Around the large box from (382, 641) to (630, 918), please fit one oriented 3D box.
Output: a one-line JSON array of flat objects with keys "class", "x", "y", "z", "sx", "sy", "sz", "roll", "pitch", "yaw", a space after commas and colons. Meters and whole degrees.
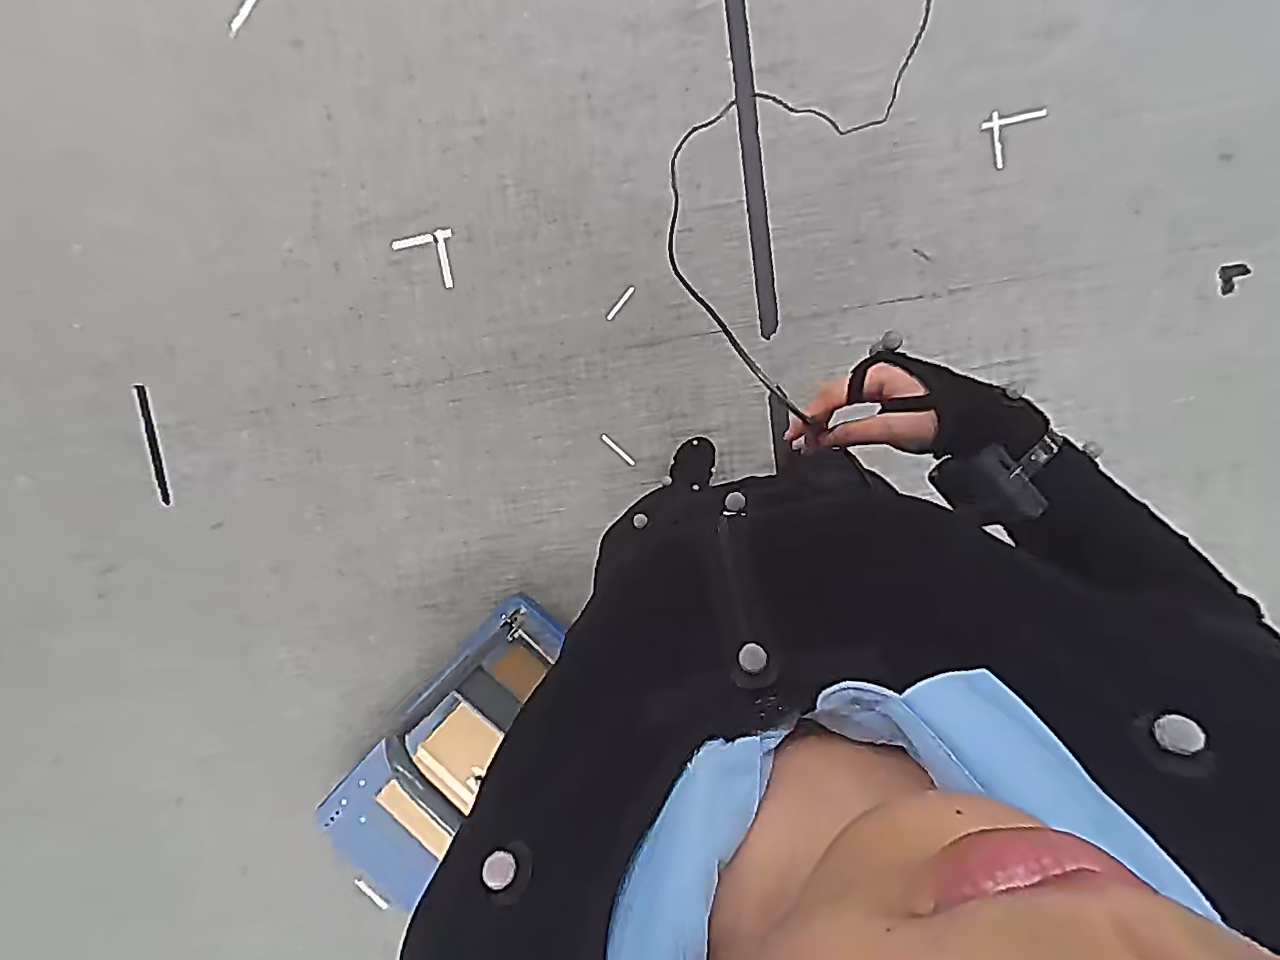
[{"class": "large box", "x": -0.282, "y": 0.662, "z": 1.258, "sx": 0.408, "sy": 0.320, "sz": 0.320, "roll": 43, "pitch": 96, "yaw": 2}]
